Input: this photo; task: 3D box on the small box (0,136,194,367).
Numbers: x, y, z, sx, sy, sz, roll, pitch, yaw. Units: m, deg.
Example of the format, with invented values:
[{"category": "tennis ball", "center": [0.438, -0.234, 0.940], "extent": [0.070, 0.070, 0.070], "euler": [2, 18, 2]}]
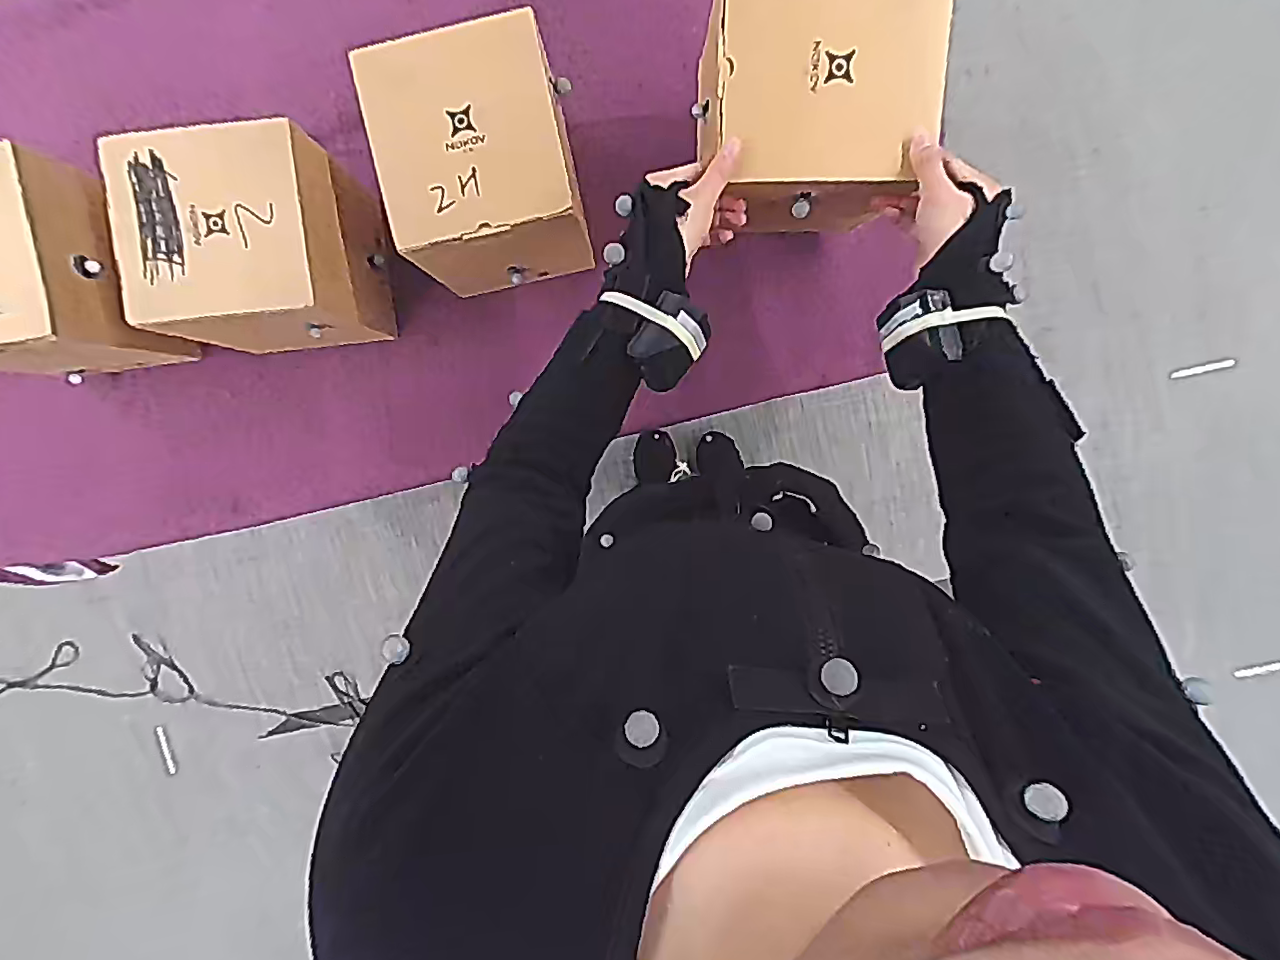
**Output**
[{"category": "small box", "center": [-0.620, -0.217, 0.566], "extent": [0.168, 0.176, 0.179], "euler": [-7, 95, 1]}]

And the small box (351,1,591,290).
[{"category": "small box", "center": [-0.153, -0.316, 0.549], "extent": [0.168, 0.176, 0.179], "euler": [-12, 95, 3]}]

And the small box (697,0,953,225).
[{"category": "small box", "center": [0.149, -0.341, 0.492], "extent": [0.179, 0.176, 0.168], "euler": [1, 102, 1]}]
